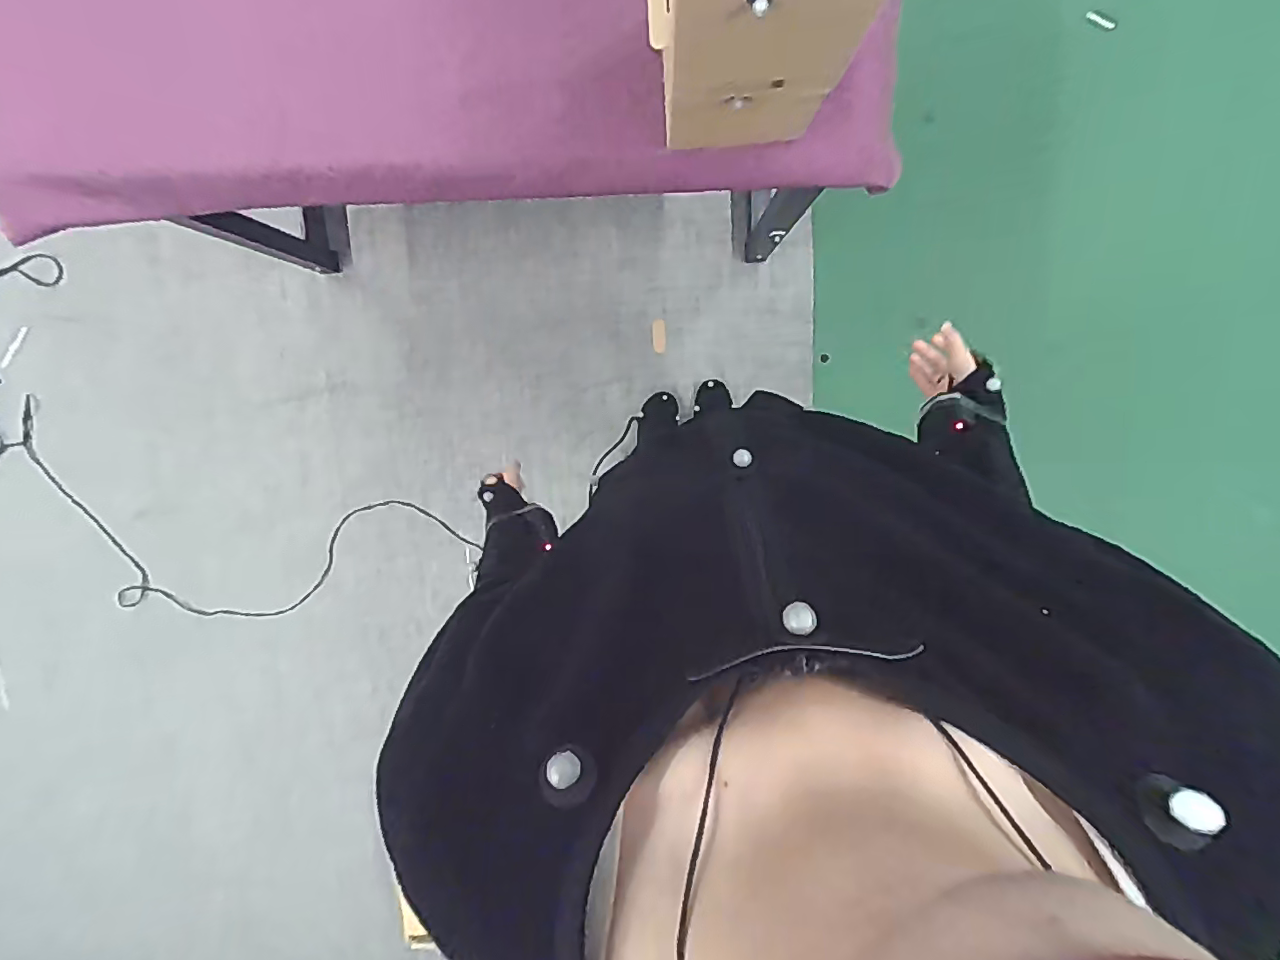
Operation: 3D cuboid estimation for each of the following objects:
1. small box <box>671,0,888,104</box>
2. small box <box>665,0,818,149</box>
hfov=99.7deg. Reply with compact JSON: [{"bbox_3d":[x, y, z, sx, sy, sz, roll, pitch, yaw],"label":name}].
[{"bbox_3d":[0.110,-0.458,0.456,0.168,0.176,0.179,-1,99,3],"label":"small box"},{"bbox_3d":[0.117,-0.501,0.615,0.179,0.176,0.168,-3,99,2],"label":"small box"}]
